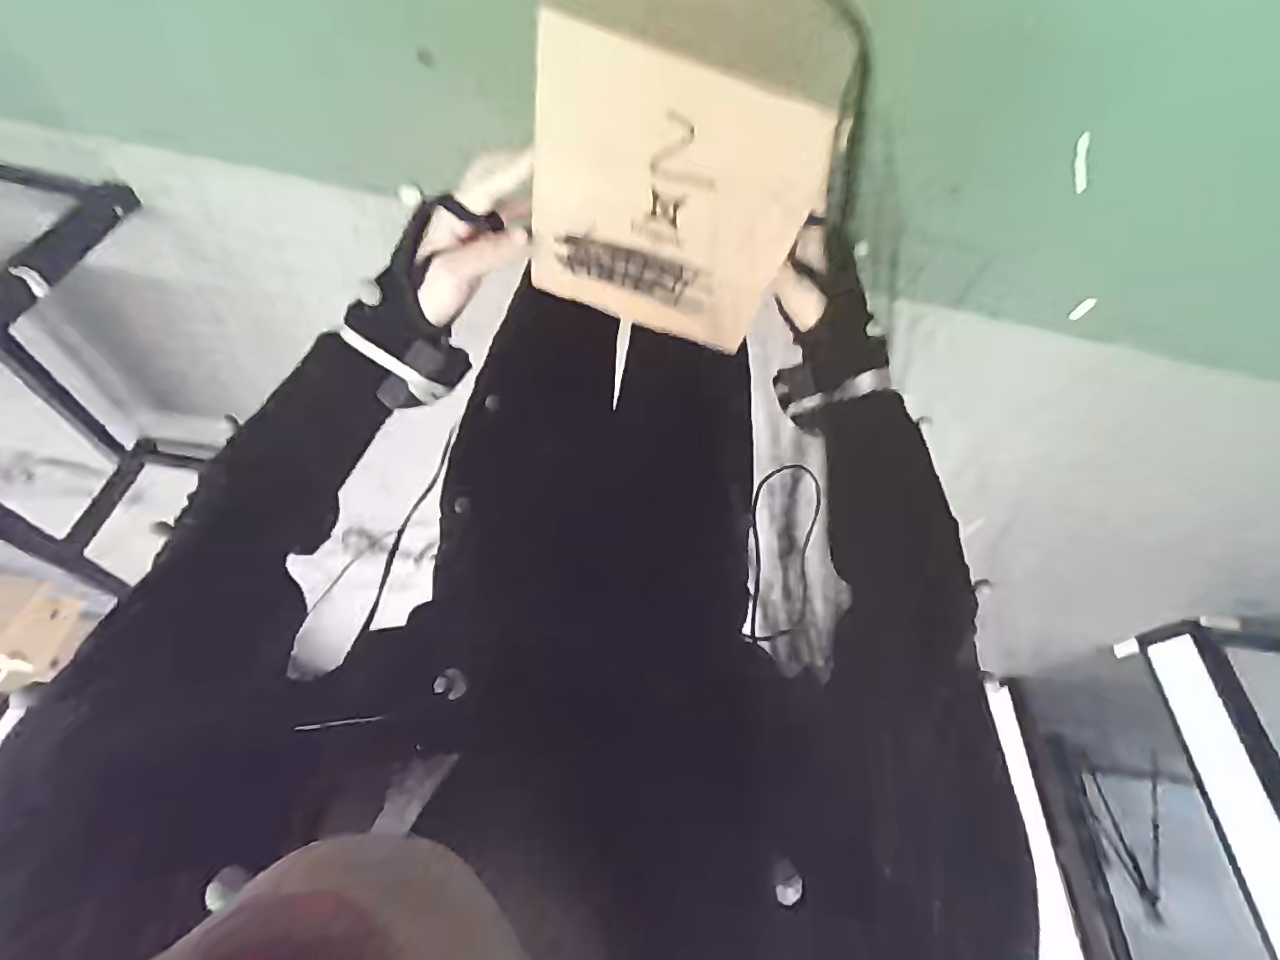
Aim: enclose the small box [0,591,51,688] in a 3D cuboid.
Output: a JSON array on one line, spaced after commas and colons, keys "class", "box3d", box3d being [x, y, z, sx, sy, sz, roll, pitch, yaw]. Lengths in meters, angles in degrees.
[{"class": "small box", "box3d": [-1.476, 0.338, 1.176, 0.179, 0.176, 0.168, 10, 145, -9]}]
